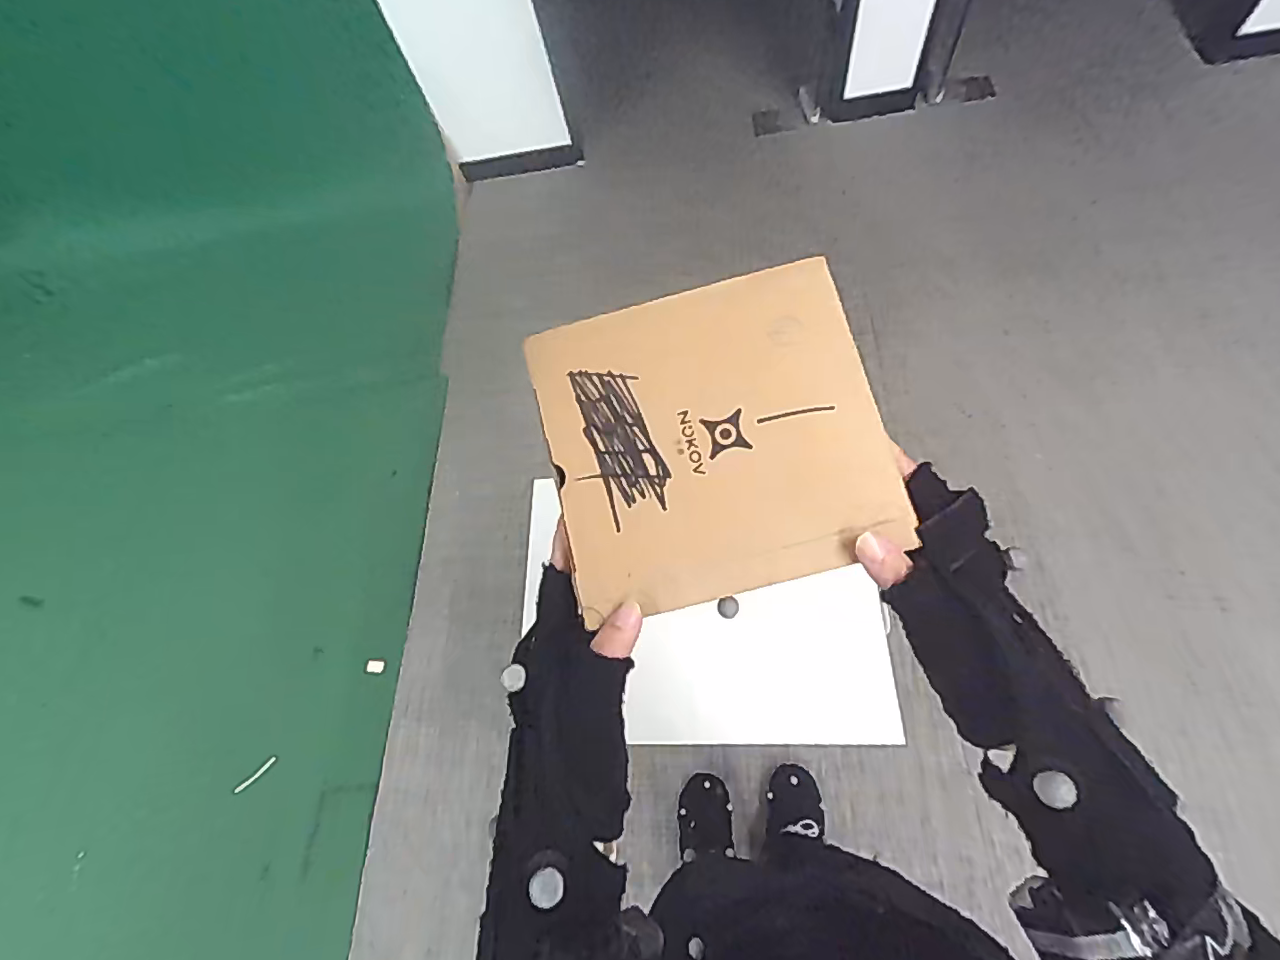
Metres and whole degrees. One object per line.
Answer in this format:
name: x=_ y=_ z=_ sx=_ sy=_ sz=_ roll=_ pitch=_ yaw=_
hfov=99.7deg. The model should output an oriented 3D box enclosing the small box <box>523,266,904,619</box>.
small box: x=0.041 y=-0.008 z=0.371 sx=0.179 sy=0.176 sz=0.168 roll=-15 pitch=79 yaw=2
